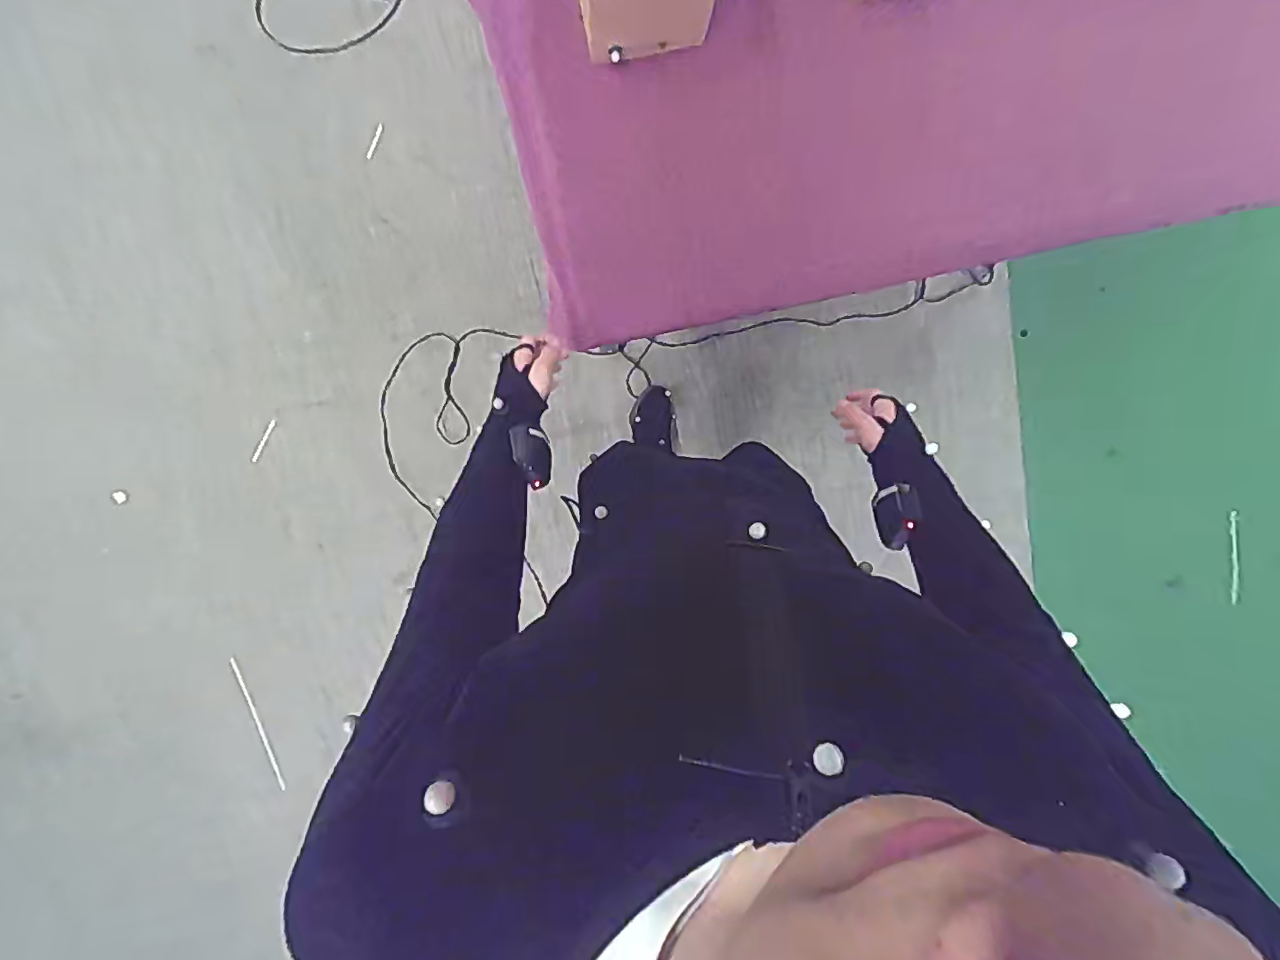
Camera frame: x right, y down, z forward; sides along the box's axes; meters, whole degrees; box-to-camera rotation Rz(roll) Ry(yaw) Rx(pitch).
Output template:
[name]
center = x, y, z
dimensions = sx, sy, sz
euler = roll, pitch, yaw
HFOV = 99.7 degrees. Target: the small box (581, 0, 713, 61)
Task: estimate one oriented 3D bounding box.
[small box]
center = 0.002, -0.677, 0.689
dimensions = 0.168, 0.176, 0.179
euler = -11, 100, -1
